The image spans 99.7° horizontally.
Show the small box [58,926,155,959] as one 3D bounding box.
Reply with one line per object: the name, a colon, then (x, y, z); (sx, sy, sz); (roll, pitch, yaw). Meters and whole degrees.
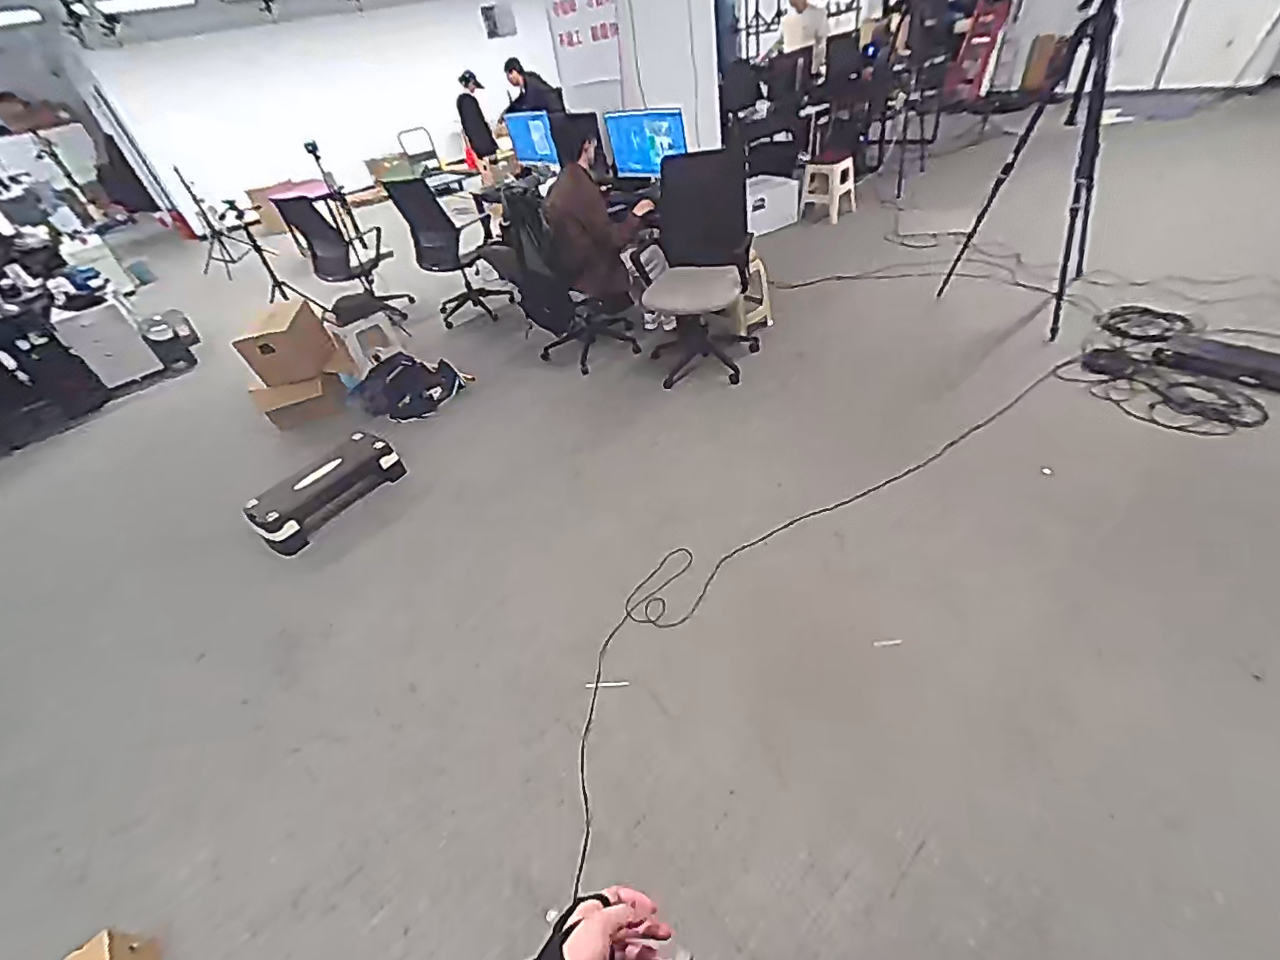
small box: (-1.253, 1.184, 1.235); (0.179, 0.176, 0.168); (28, 55, 36)
